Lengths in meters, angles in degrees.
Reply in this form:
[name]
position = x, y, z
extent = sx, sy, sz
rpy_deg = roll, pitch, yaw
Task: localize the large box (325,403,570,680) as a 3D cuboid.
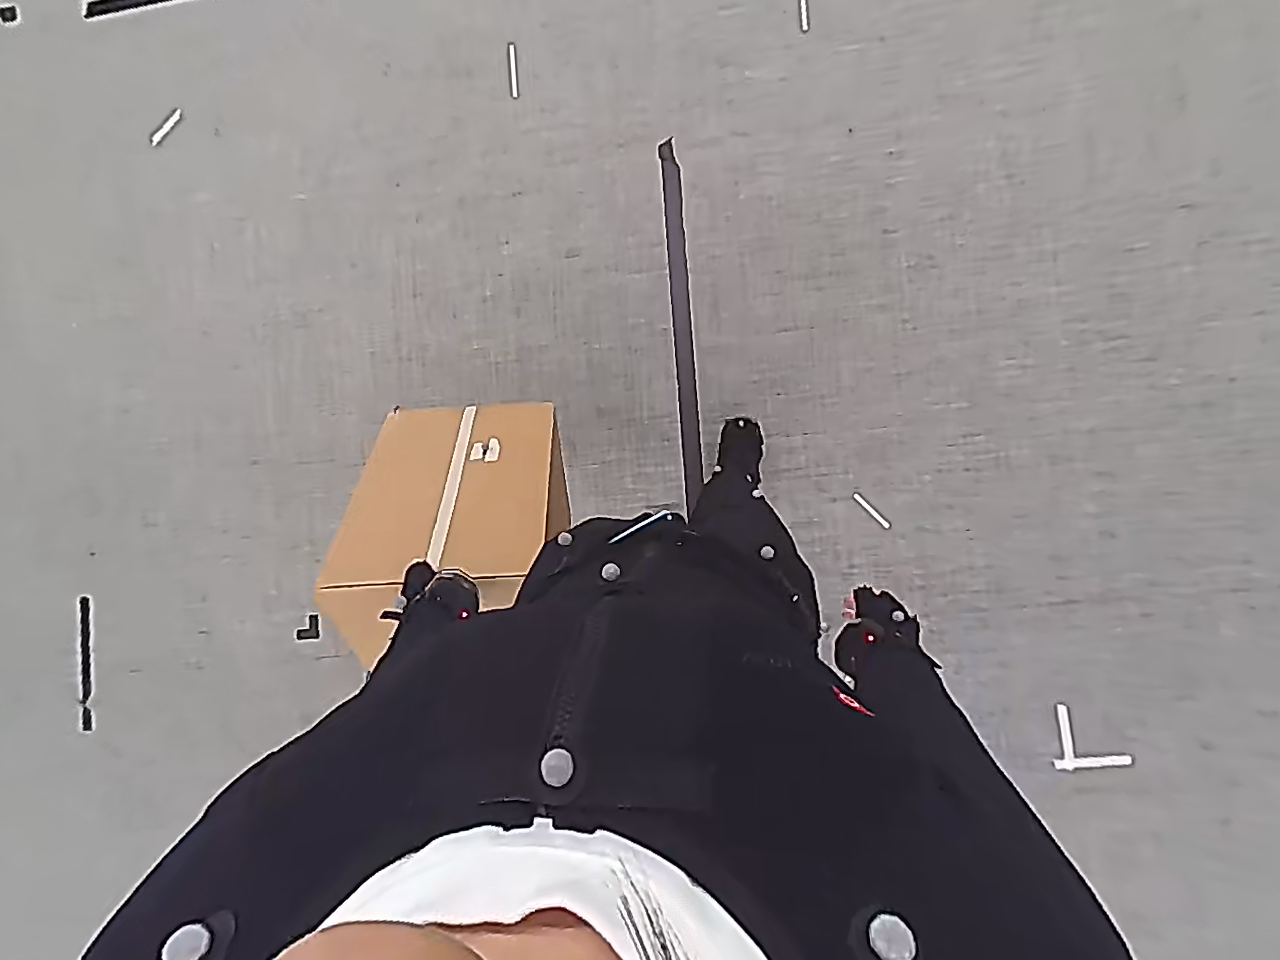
[large box]
position = -0.303, 0.105, 1.002
extent = 0.320, 0.408, 0.320
rpy_deg = -2, 134, -2
